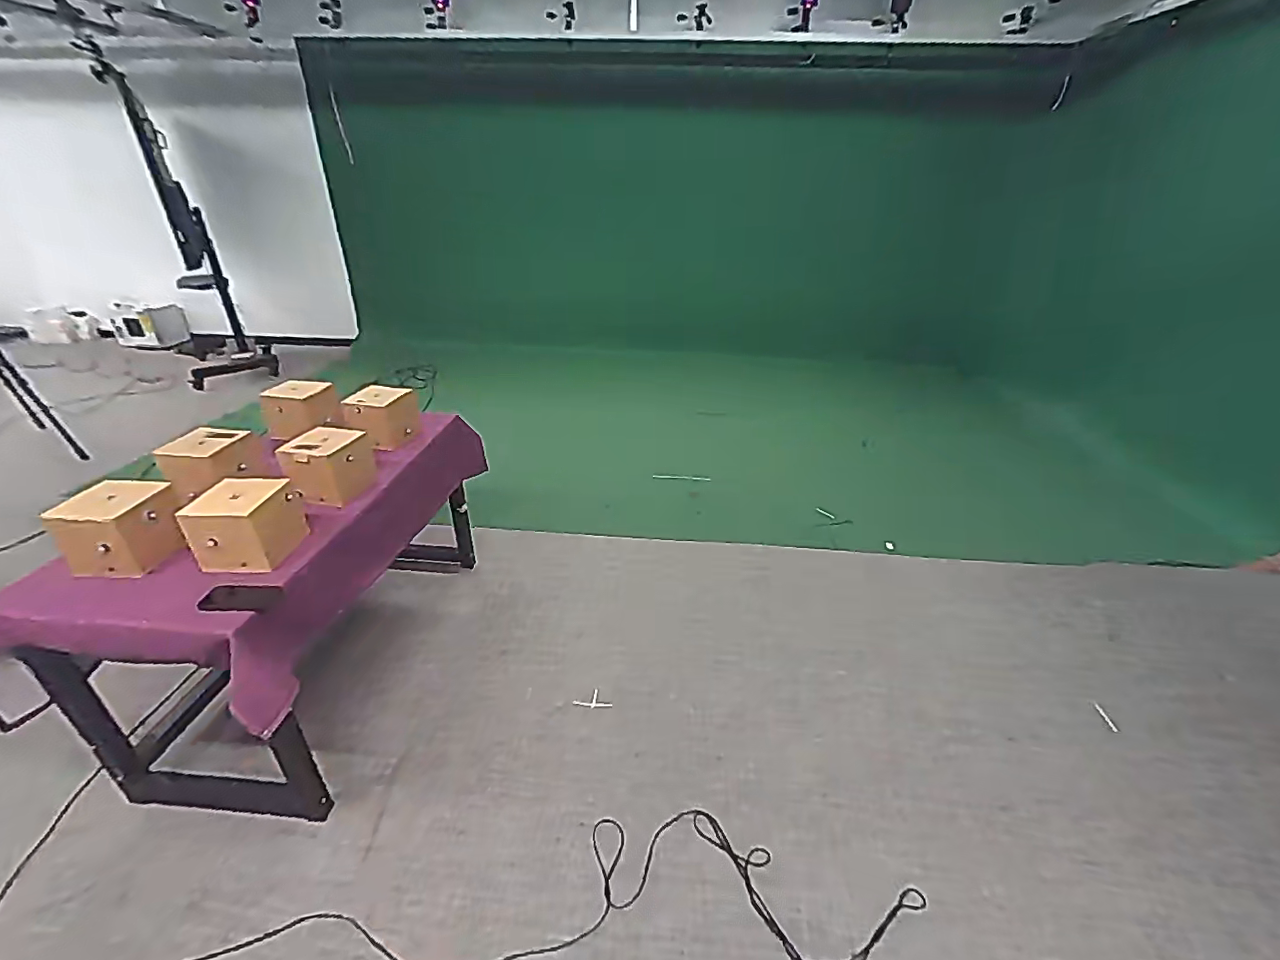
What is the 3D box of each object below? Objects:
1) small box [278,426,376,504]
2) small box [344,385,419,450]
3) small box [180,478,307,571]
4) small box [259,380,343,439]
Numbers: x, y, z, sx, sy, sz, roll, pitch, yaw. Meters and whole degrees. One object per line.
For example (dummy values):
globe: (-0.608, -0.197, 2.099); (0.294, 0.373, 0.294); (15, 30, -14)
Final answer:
small box: (-0.909, -0.043, 1.593); (0.168, 0.176, 0.179); (7, 29, 9)
small box: (-0.908, -0.224, 1.917); (0.168, 0.176, 0.179); (7, 29, 10)
small box: (-0.953, 0.108, 1.321); (0.168, 0.176, 0.179); (0, 28, -1)
small box: (-1.218, -0.253, 1.953); (0.179, 0.176, 0.168); (6, 30, 7)
